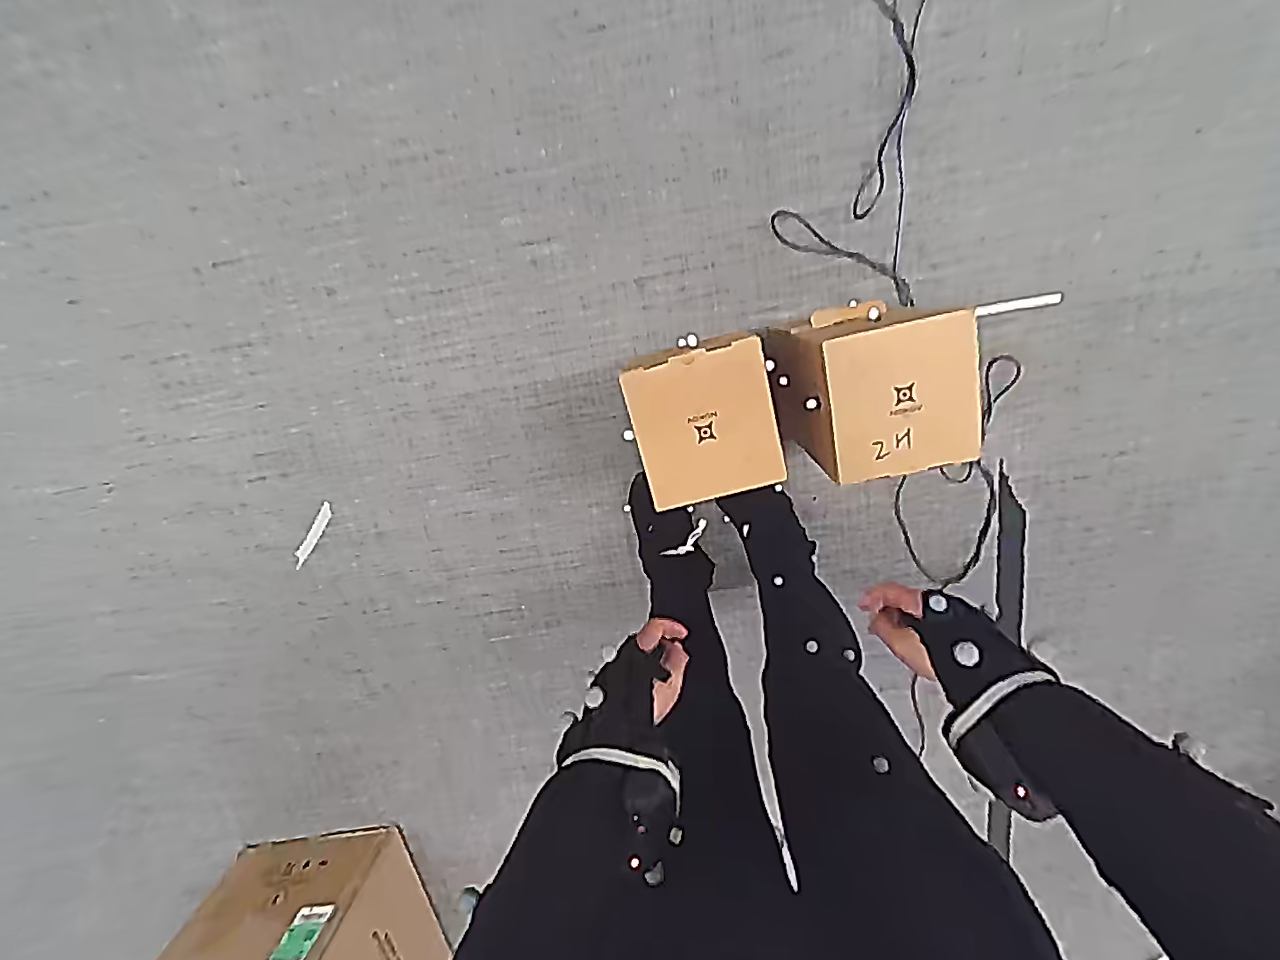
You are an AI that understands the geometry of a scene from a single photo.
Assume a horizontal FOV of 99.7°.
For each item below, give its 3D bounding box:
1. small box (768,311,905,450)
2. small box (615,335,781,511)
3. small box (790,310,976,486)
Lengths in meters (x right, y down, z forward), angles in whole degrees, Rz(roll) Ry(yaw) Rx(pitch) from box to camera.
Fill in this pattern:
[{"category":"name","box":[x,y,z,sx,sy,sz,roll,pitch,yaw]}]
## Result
[{"category":"small box","box":[0.302,-0.161,0.844,0.168,0.176,0.179,-9,108,5]},{"category":"small box","box":[0.076,-0.082,0.709,0.168,0.176,0.179,-14,105,7]},{"category":"small box","box":[0.297,-0.111,0.687,0.168,0.176,0.179,-11,107,6]}]
